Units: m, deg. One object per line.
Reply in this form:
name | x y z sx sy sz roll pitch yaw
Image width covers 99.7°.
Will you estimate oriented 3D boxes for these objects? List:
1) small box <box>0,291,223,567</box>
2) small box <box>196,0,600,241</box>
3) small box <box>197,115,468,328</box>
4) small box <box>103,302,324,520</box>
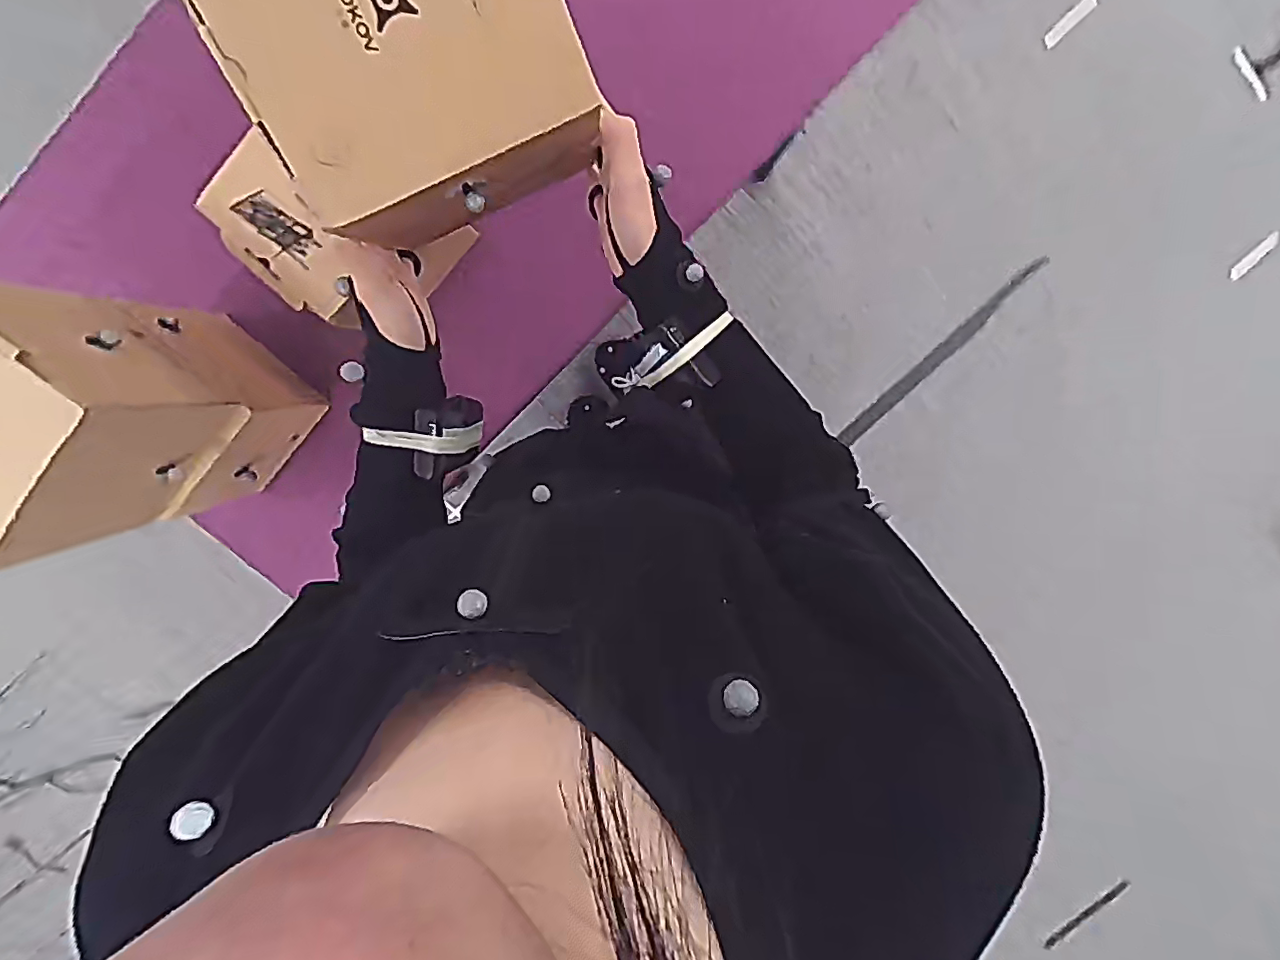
small box | -0.534 -0.055 0.487 0.168 0.176 0.179 39 96 -8
small box | -0.136 -0.271 0.350 0.179 0.176 0.168 -23 111 2
small box | -0.325 -0.294 0.614 0.168 0.176 0.179 42 96 -9
small box | -0.530 -0.085 0.649 0.179 0.176 0.168 41 97 -8
